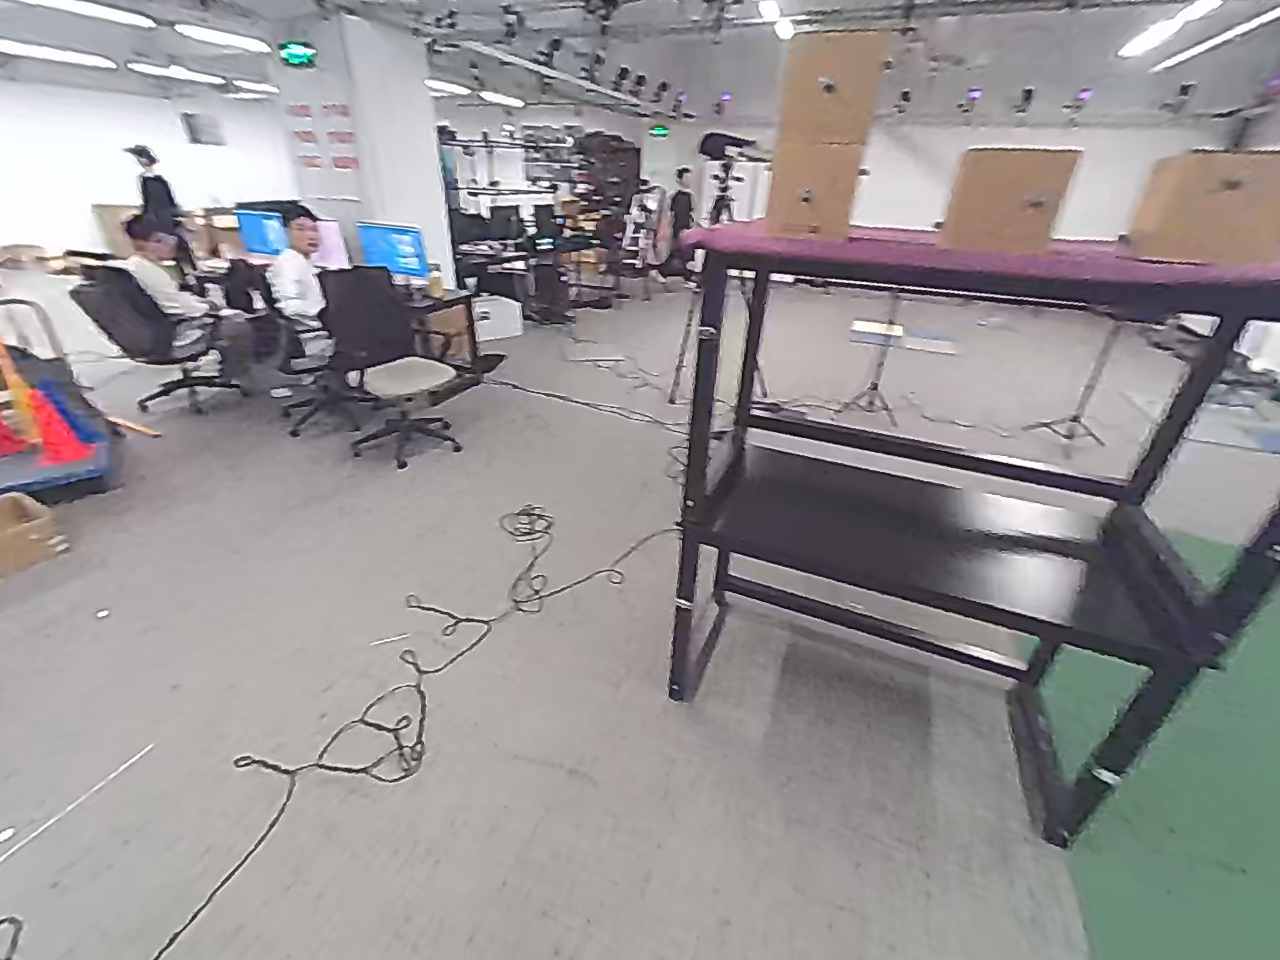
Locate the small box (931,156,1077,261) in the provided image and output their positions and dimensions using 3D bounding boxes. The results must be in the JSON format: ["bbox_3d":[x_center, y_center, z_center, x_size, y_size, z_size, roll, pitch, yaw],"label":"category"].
[{"bbox_3d":[0.681,-0.517,1.035,0.179,0.176,0.168,12,29,18],"label":"small box"}]

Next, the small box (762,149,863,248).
[{"bbox_3d":[0.355,-0.581,1.120,0.168,0.176,0.179,13,31,17],"label":"small box"}]

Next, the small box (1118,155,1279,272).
[{"bbox_3d":[0.987,-0.461,0.948,0.179,0.176,0.168,14,28,21],"label":"small box"}]
